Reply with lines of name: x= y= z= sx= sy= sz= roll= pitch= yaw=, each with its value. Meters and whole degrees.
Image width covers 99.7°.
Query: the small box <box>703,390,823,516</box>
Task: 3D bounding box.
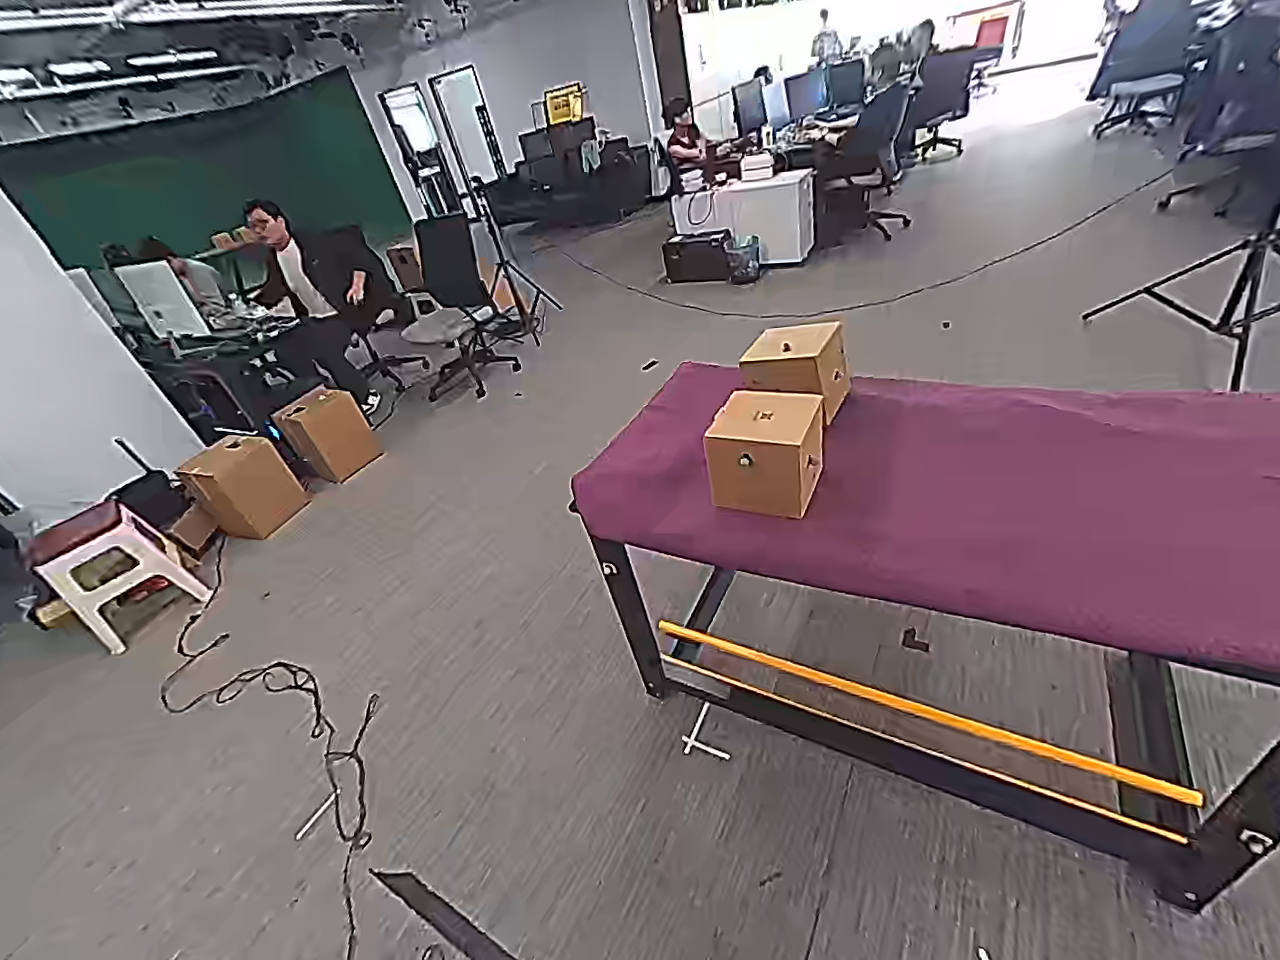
small box: x=0.239 y=-0.052 z=1.020 sx=0.179 sy=0.176 sz=0.168 roll=8 pitch=42 yaw=29

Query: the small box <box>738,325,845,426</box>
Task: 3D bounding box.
small box: x=0.345 y=-0.232 z=1.200 sx=0.179 sy=0.168 sz=0.176 roll=5 pitch=39 yaw=37
